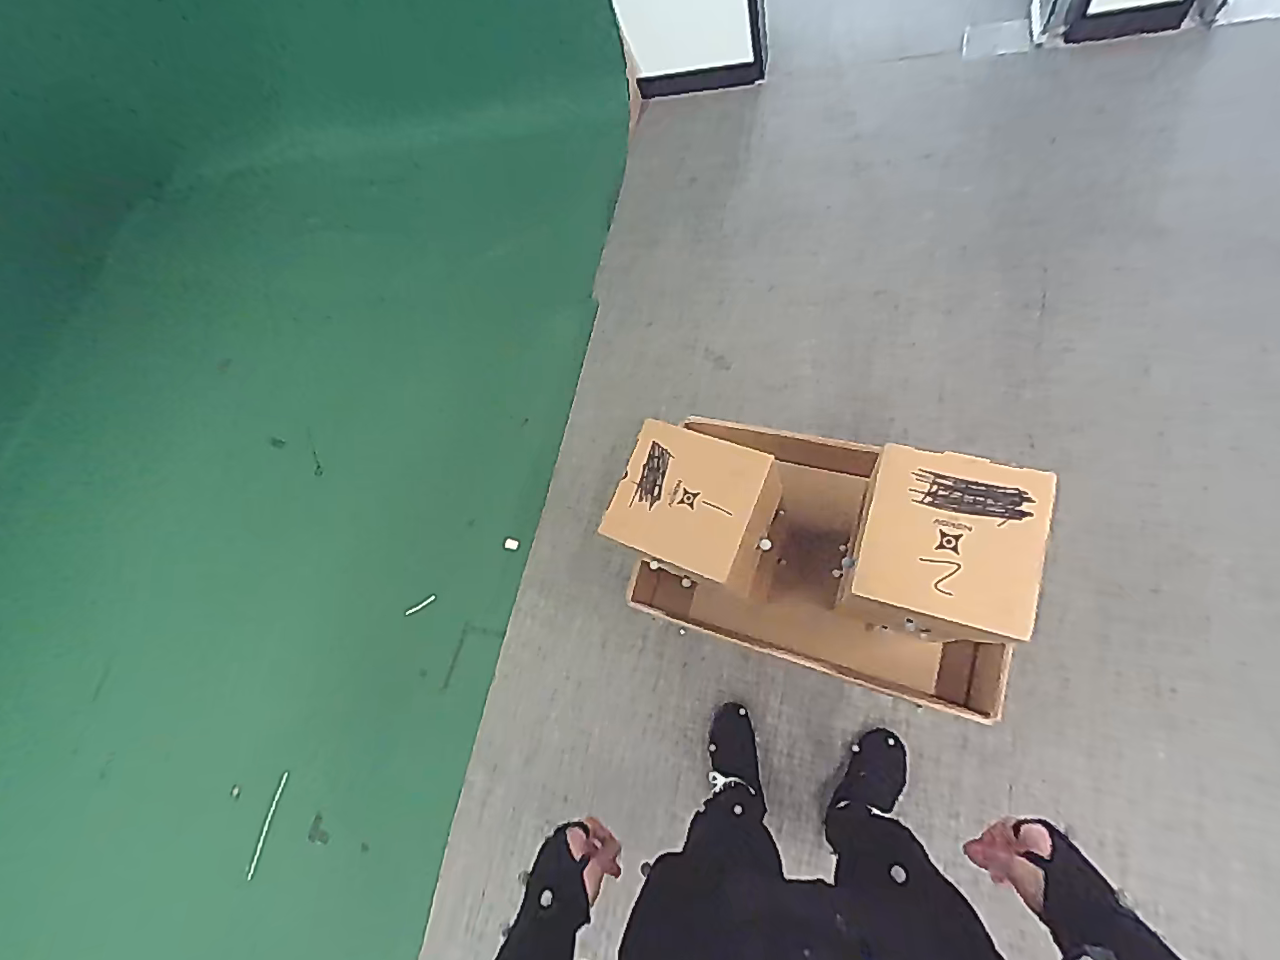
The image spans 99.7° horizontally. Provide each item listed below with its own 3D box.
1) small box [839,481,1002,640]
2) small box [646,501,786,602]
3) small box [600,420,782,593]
[{"bbox_3d":[0.391,0.122,0.781,0.168,0.176,0.179,14,78,21],"label":"small box"},{"bbox_3d":[0.133,0.088,0.880,0.168,0.176,0.179,16,79,22],"label":"small box"},{"bbox_3d":[0.078,0.044,0.731,0.179,0.176,0.168,20,81,22],"label":"small box"}]
